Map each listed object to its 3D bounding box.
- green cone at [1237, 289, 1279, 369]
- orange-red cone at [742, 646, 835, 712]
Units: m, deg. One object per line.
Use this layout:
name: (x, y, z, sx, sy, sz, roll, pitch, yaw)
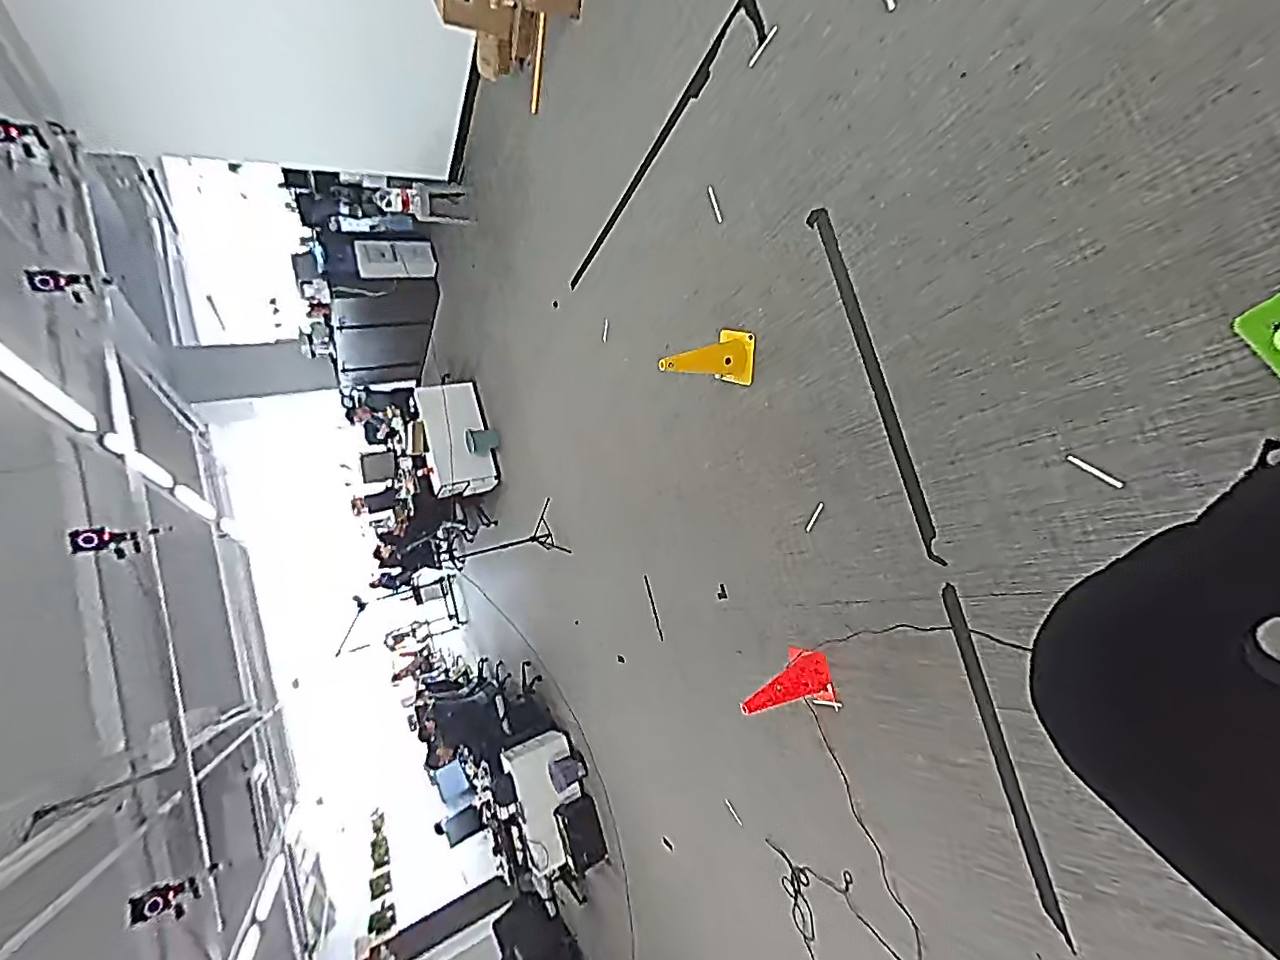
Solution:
green cone: (1.017, -0.224, 0.802, 0.202, 0.368, 0.200, 65, 149, 19)
orange-red cone: (0.534, 0.795, 2.058, 0.198, 0.360, 0.199, -12, 90, 61)
